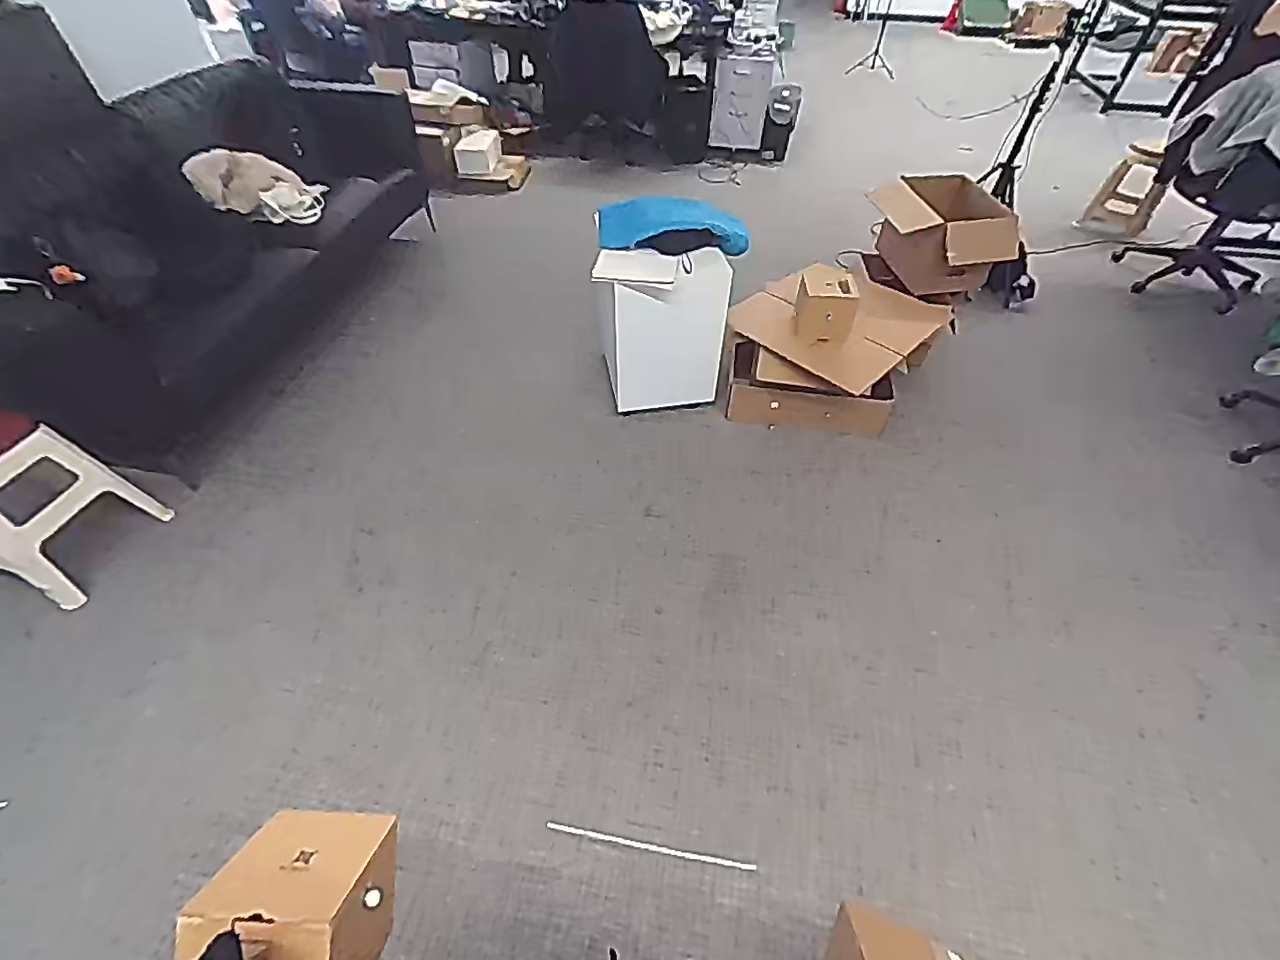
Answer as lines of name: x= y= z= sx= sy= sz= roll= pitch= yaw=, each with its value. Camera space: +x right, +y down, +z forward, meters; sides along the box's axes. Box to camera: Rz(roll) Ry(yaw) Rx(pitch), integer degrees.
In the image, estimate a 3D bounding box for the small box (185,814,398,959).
small box: x=-0.422 y=0.556 z=0.672 sx=0.168 sy=0.179 sz=0.176 roll=3 pitch=93 yaw=-2
